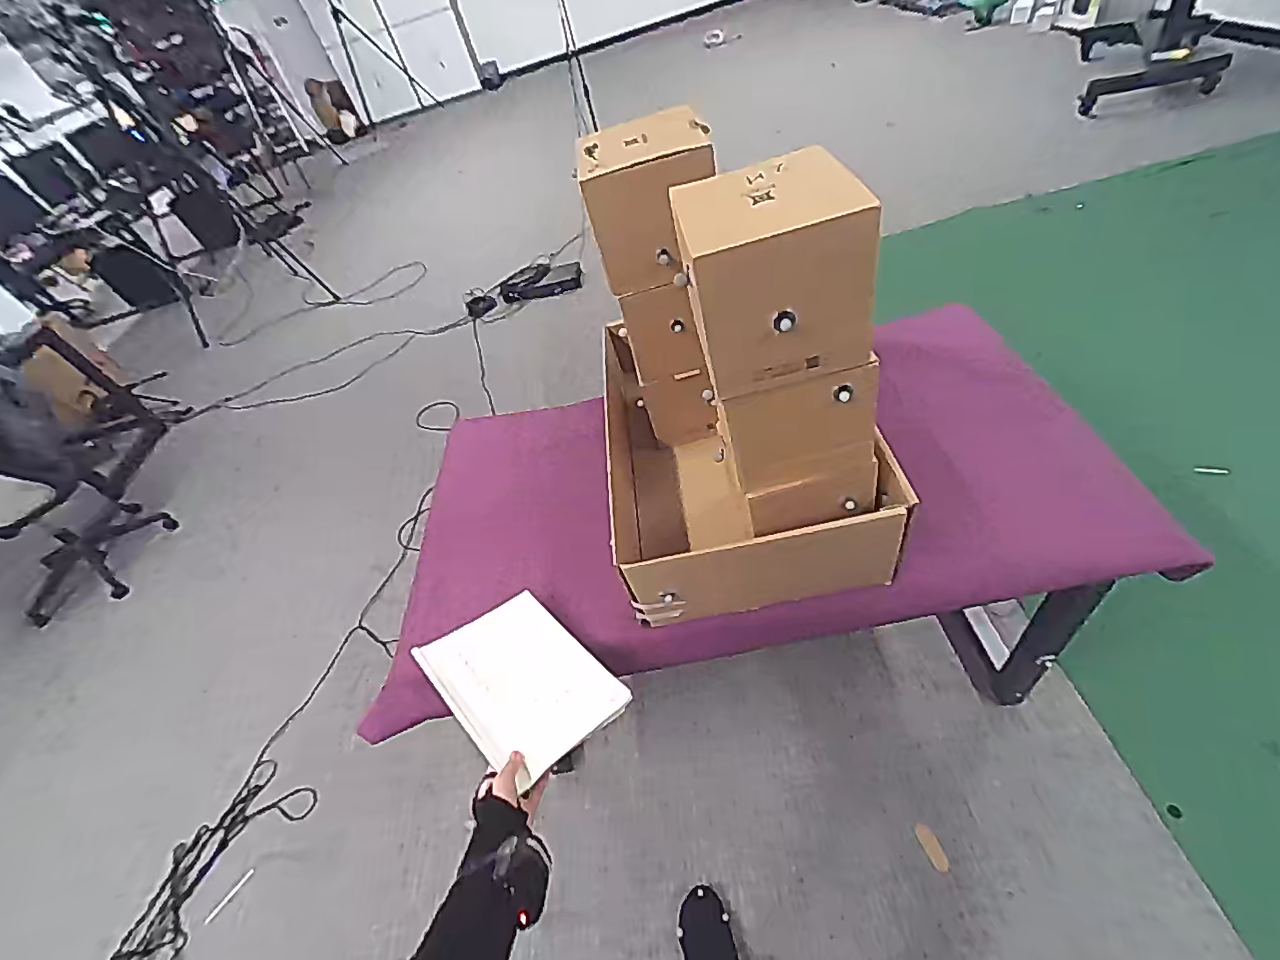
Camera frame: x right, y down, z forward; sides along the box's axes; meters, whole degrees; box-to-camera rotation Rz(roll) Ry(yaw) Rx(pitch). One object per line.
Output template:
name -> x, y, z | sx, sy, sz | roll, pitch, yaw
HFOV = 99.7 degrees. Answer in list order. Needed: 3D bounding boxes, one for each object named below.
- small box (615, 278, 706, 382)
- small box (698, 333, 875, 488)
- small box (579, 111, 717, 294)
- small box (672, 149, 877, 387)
small box -> 0.056, -0.292, 0.906 | 0.179, 0.176, 0.168 | -14, 47, 5
small box -> 0.183, -0.110, 0.696 | 0.179, 0.176, 0.168 | -12, 45, 7
small box -> 0.017, -0.399, 0.788 | 0.179, 0.176, 0.168 | -12, 47, 5
small box -> 0.138, -0.218, 0.580 | 0.168, 0.176, 0.179 | -12, 45, 7
